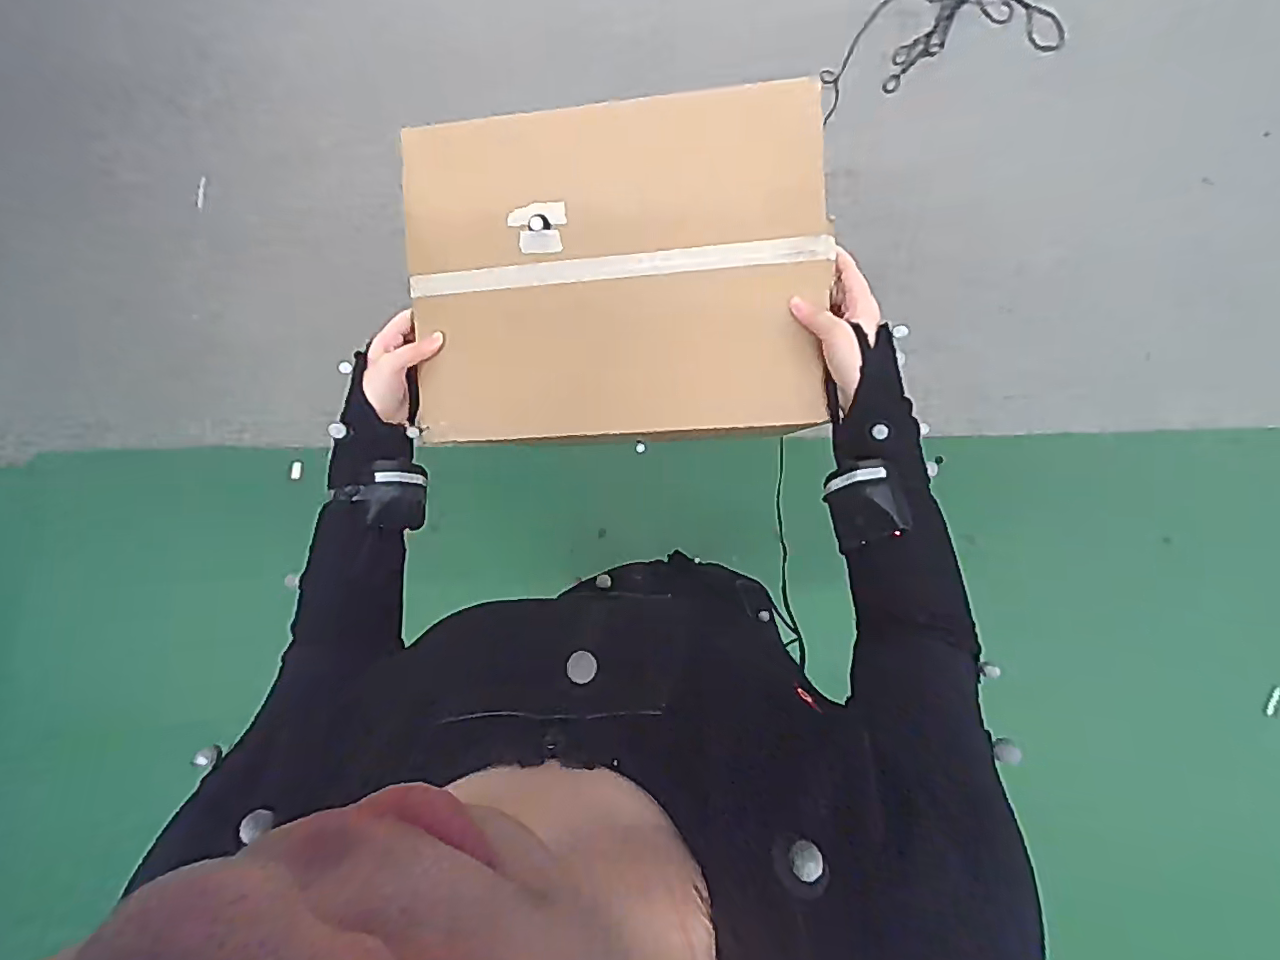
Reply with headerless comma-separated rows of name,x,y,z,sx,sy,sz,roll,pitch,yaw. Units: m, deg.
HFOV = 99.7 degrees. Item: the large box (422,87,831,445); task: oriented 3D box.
large box,0.002,-0.209,0.680,0.408,0.320,0.320,-2,92,9
